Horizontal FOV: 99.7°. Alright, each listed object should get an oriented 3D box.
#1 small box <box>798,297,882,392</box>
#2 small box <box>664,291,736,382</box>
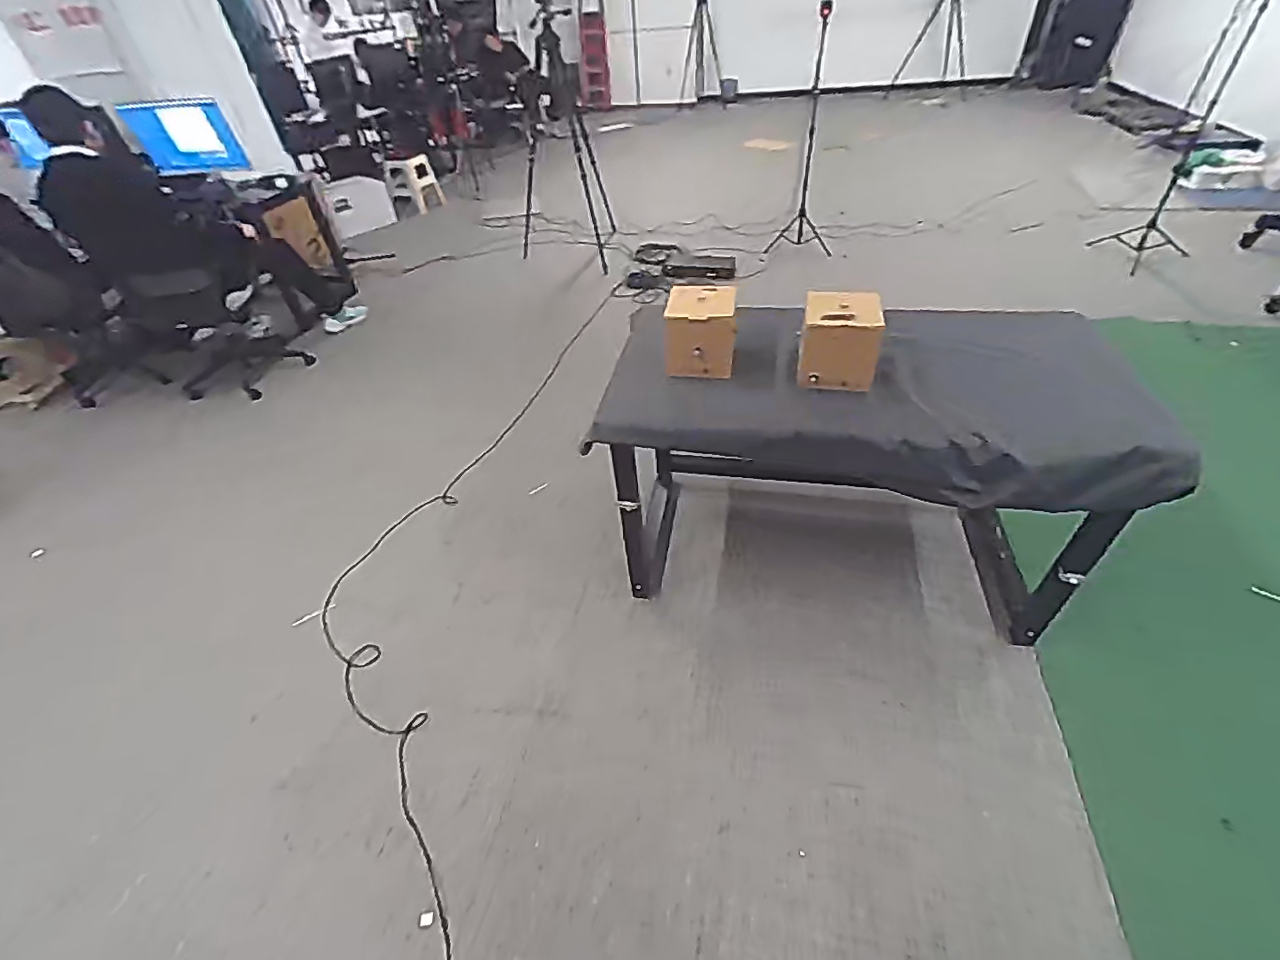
[{"bbox_3d":[0.476,-0.327,1.302,0.168,0.176,0.179,5,42,13],"label":"small box"},{"bbox_3d":[0.159,-0.367,1.389,0.168,0.176,0.179,3,44,11],"label":"small box"}]
